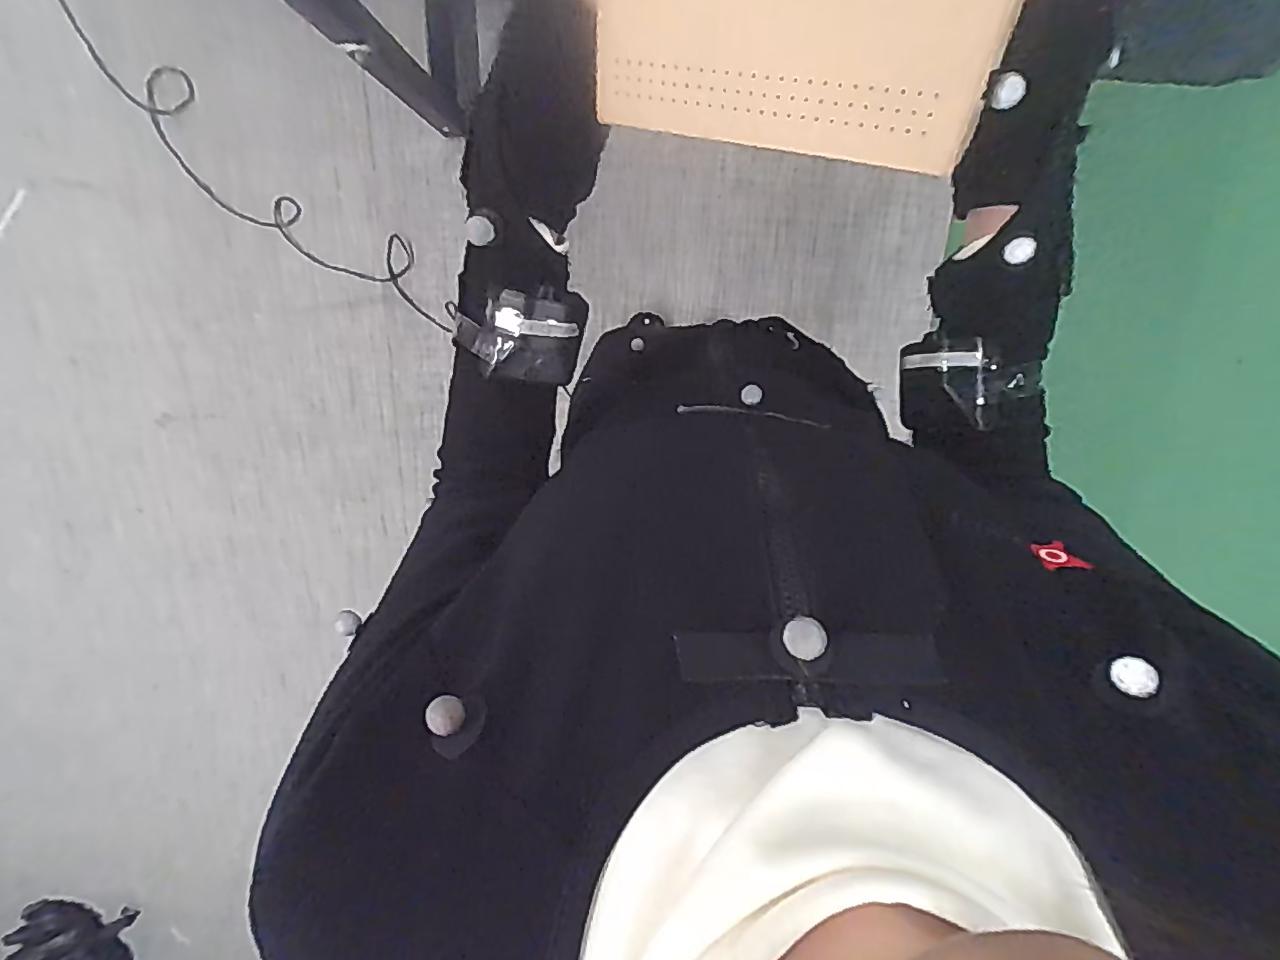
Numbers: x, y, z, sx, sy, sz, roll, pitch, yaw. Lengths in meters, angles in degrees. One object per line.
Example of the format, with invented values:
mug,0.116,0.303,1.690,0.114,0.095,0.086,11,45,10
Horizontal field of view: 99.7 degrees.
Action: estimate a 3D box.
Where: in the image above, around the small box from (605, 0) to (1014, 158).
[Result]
small box,0.097,-0.272,0.267,0.179,0.168,0.176,23,134,20
